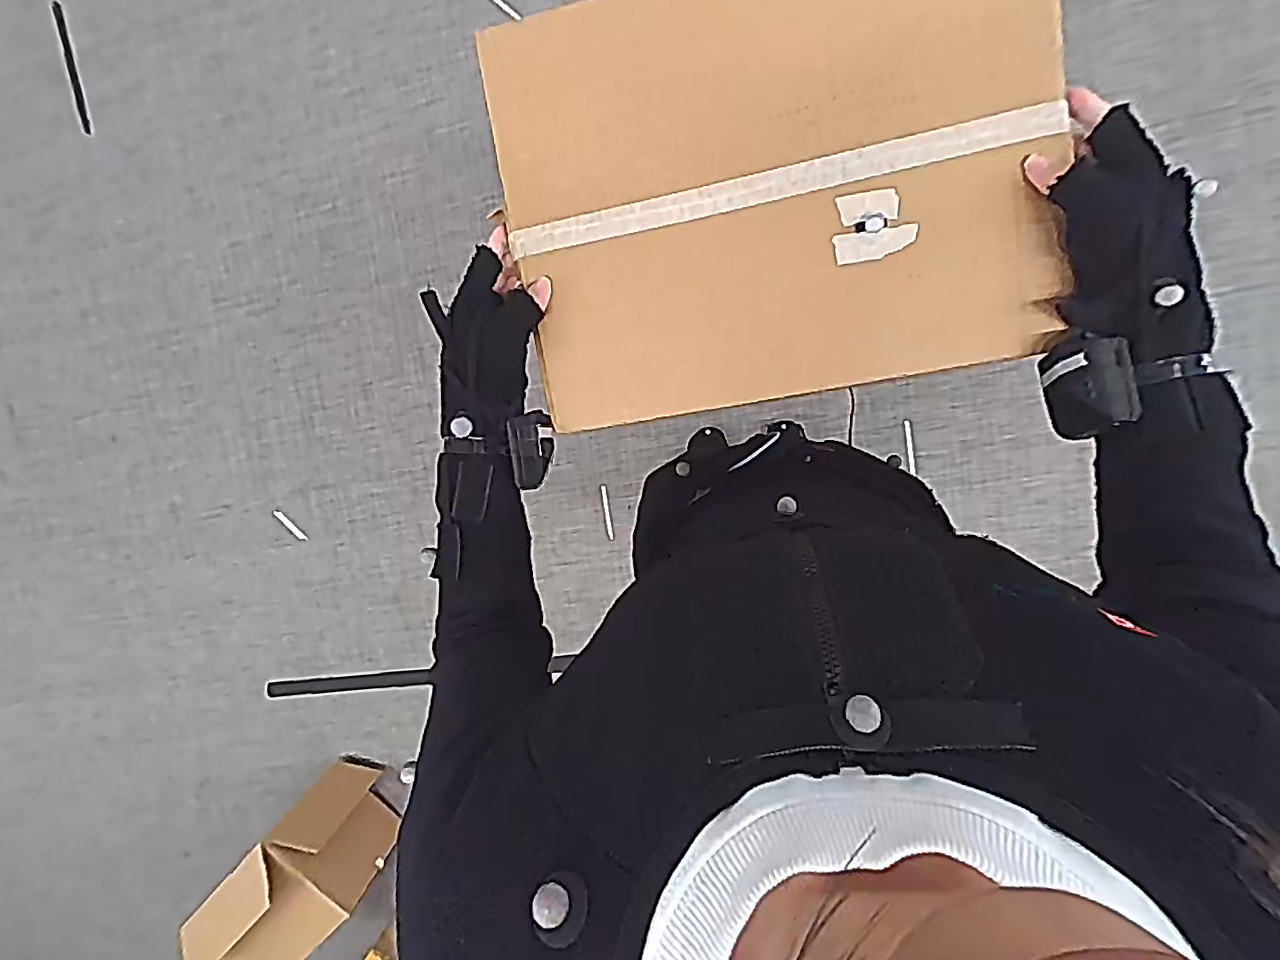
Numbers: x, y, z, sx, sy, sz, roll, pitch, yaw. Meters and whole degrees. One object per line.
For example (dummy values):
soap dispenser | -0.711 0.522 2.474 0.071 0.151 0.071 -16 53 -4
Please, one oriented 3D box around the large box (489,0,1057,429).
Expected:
large box | 0.115 -0.247 0.567 0.408 0.320 0.320 -9 98 8
